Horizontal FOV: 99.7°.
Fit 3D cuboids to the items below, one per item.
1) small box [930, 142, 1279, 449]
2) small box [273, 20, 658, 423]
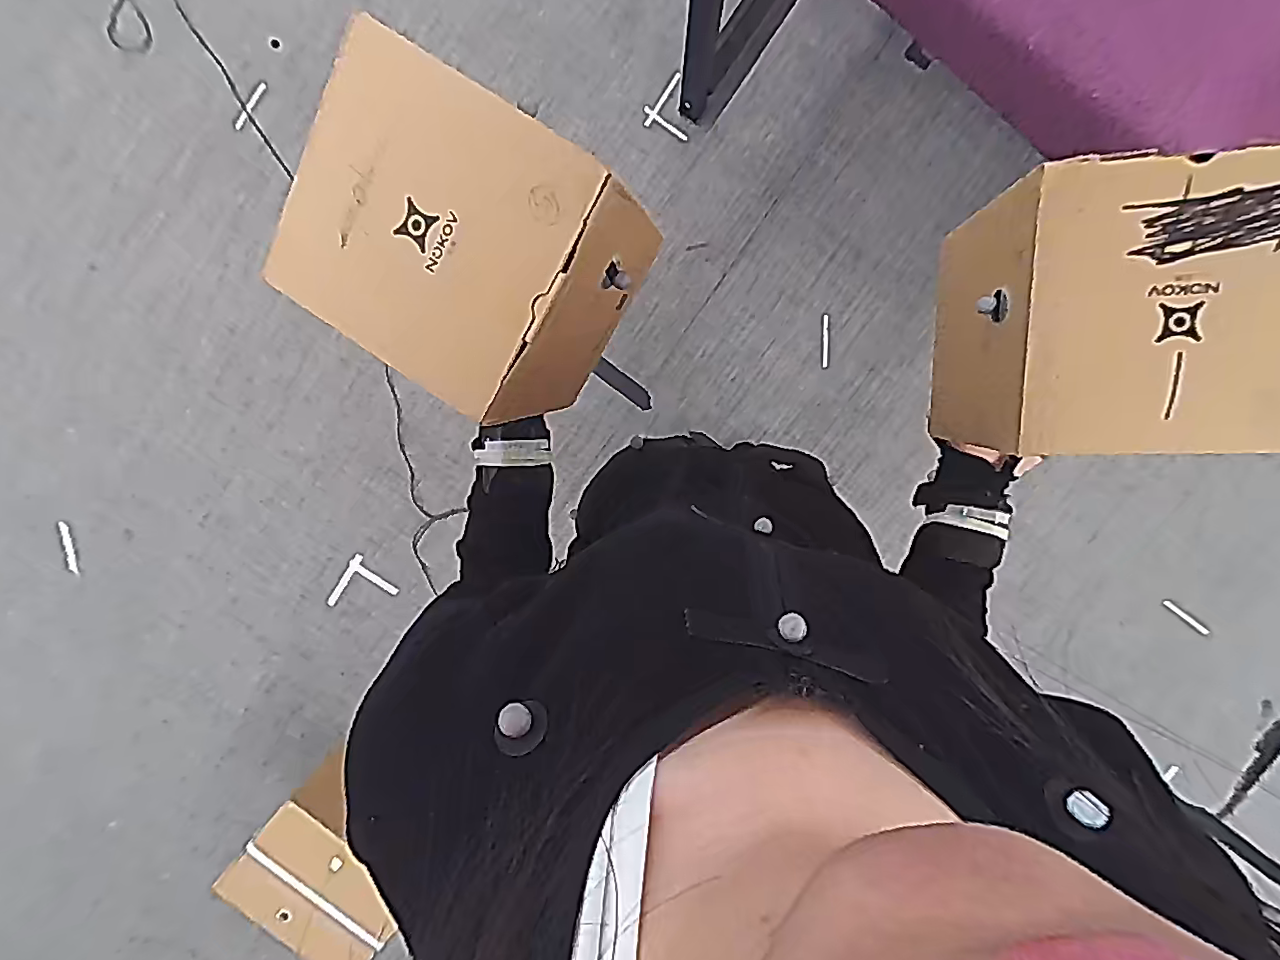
[{"bbox_3d":[0.333,-0.117,0.401,0.168,0.176,0.179,0,99,10],"label":"small box"},{"bbox_3d":[-0.106,-0.162,0.395,0.179,0.176,0.168,33,106,4],"label":"small box"}]
